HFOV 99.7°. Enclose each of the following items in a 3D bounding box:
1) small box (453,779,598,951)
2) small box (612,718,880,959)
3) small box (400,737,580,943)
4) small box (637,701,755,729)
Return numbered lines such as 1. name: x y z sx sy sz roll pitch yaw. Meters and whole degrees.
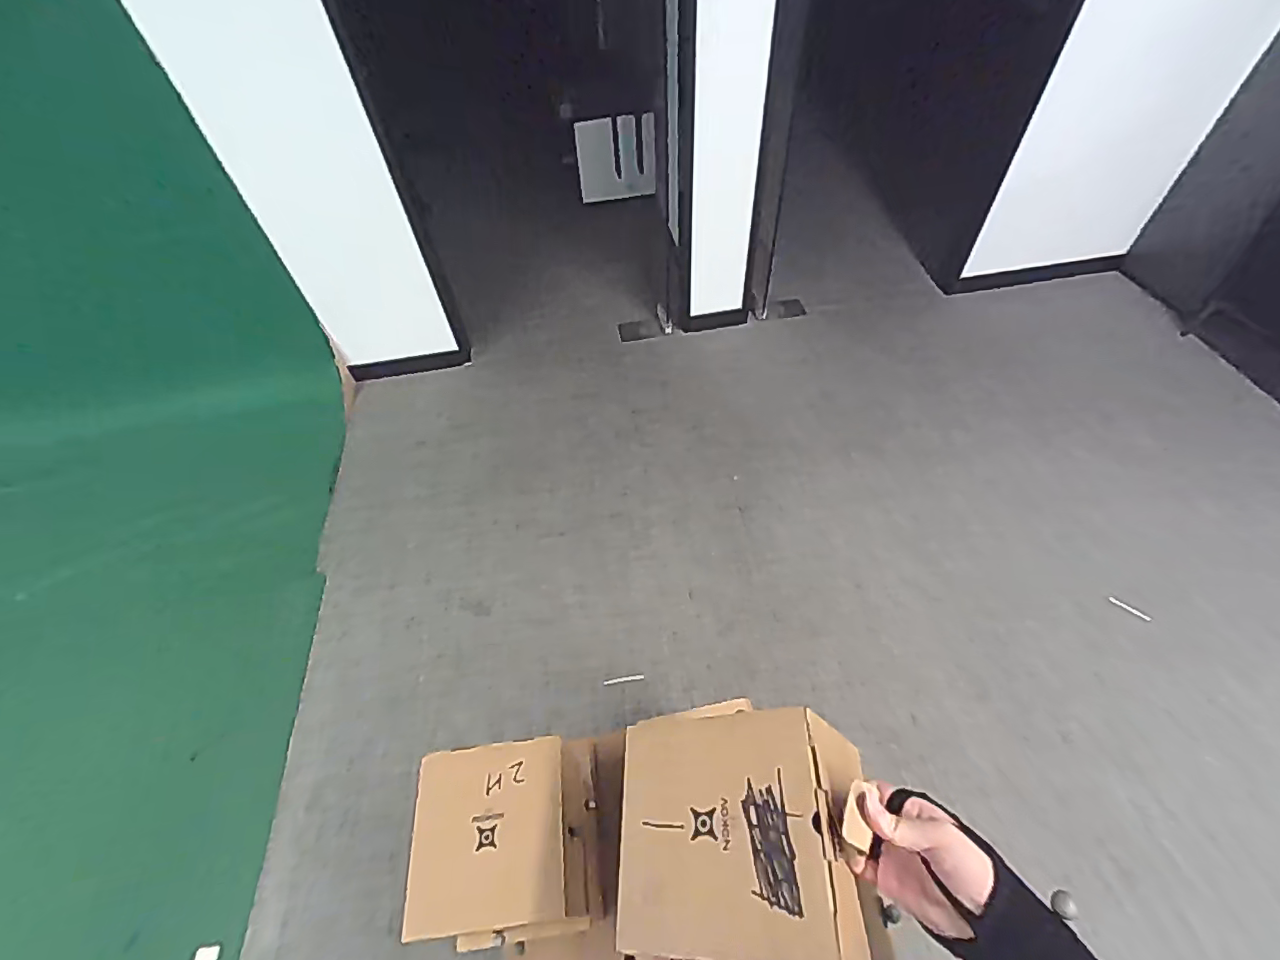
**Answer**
1. small box: -0.154 0.541 0.773 0.168 0.176 0.179 -7 52 -3
2. small box: 0.098 0.320 0.476 0.179 0.176 0.168 -18 47 26
3. small box: -0.164 0.430 0.652 0.168 0.176 0.179 -6 52 -2
4. small box: 0.097 0.457 0.823 0.179 0.176 0.168 -11 51 -2
